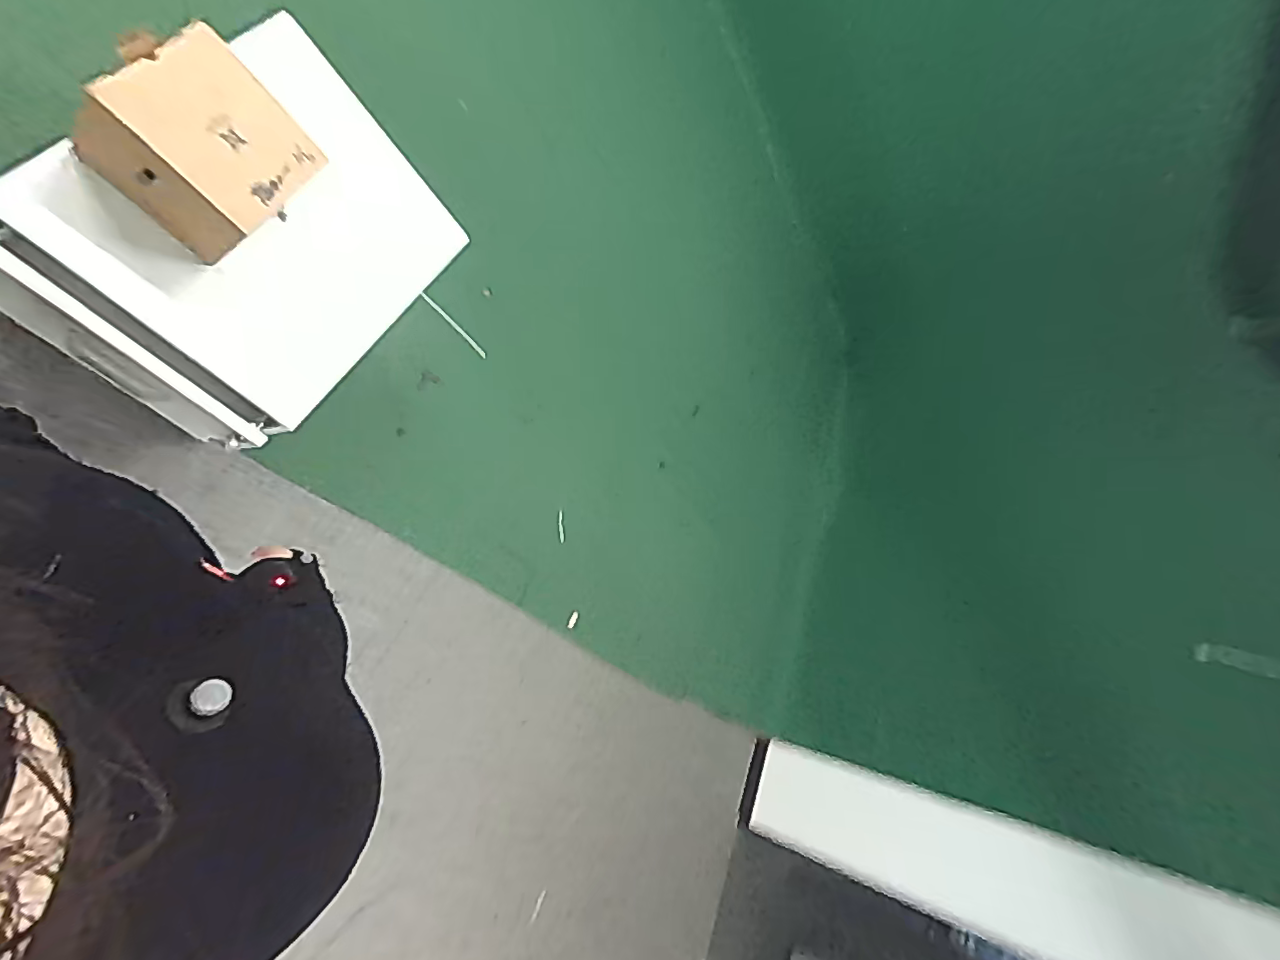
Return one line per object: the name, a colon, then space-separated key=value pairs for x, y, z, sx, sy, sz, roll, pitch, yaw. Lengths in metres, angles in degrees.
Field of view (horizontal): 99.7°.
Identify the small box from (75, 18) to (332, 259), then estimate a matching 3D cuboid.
small box: x=-0.545 y=-0.412 z=0.680 sx=0.179 sy=0.176 sz=0.168 roll=50 pitch=54 yaw=-39
